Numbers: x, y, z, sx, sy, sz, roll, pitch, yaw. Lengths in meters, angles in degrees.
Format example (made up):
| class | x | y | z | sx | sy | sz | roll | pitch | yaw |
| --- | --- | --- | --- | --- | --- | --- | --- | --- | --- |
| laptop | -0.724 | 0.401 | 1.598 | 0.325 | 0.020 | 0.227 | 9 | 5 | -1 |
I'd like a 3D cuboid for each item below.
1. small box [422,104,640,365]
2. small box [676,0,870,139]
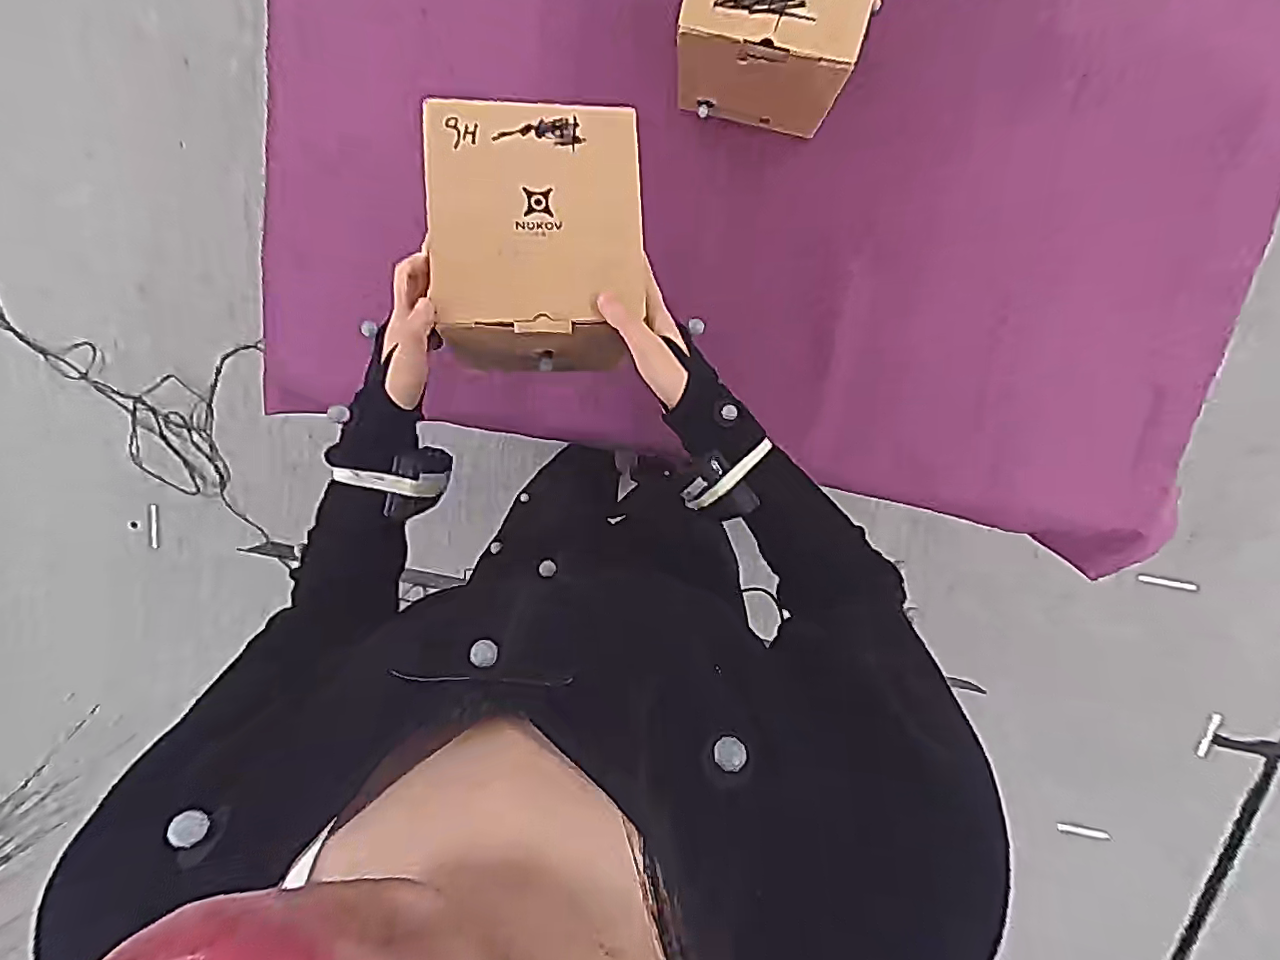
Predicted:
| class | x | y | z | sx | sy | sz | roll | pitch | yaw |
| --- | --- | --- | --- | --- | --- | --- | --- | --- | --- |
| small box | -0.092 | -0.206 | 0.503 | 0.168 | 0.176 | 0.179 | -3 | 90 | -7 |
| small box | 0.138 | -0.484 | 0.552 | 0.168 | 0.176 | 0.179 | 14 | 103 | 1 |
